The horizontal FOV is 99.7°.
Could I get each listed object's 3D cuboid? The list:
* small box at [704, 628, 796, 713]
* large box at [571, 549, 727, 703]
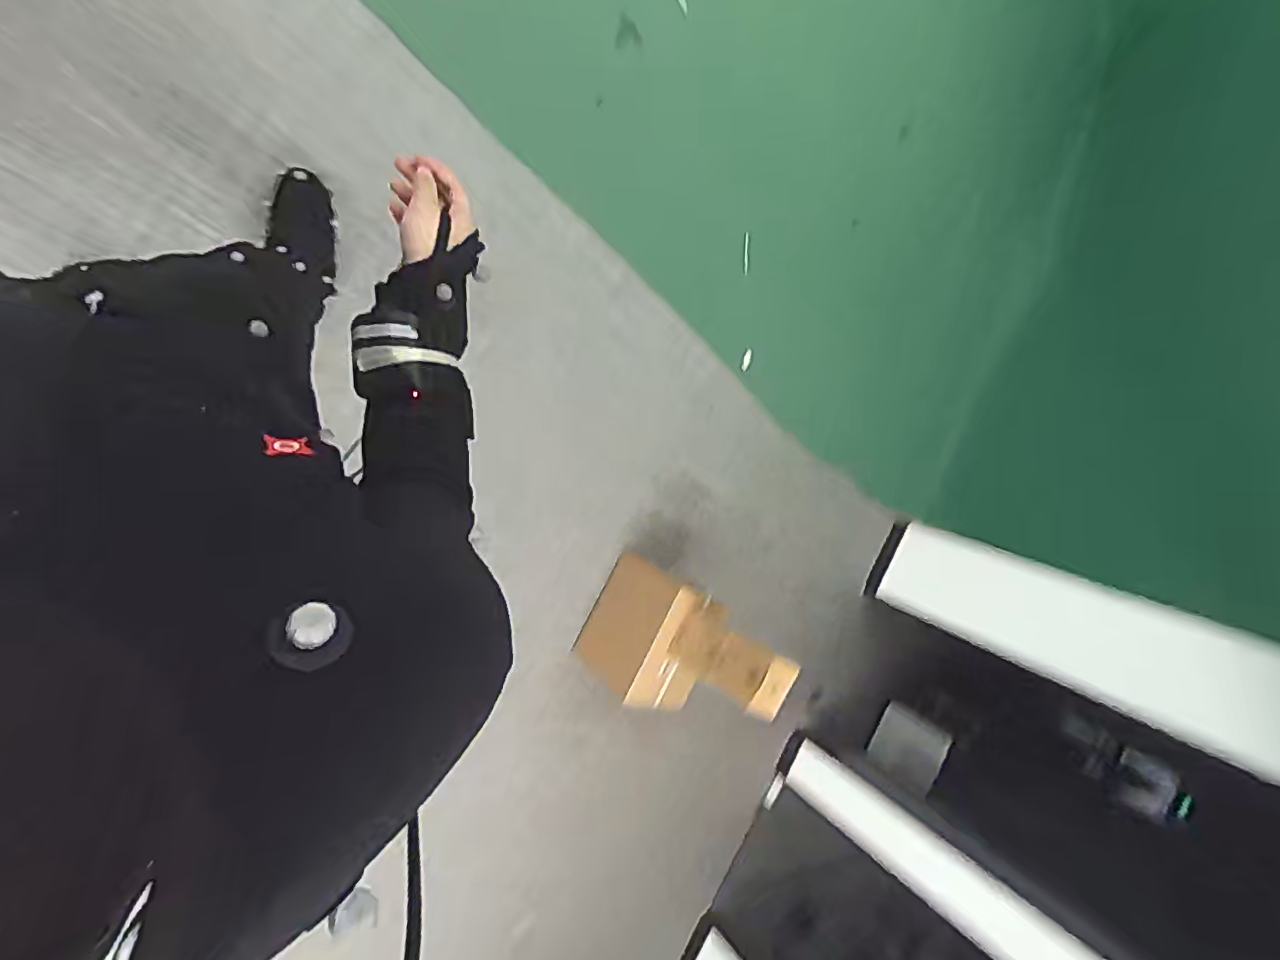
[{"bbox_3d":[0.327,0.565,1.613,0.179,0.176,0.168,37,82,-43],"label":"small box"},{"bbox_3d":[0.030,0.507,1.895,0.320,0.320,0.408,29,89,-43],"label":"large box"}]
